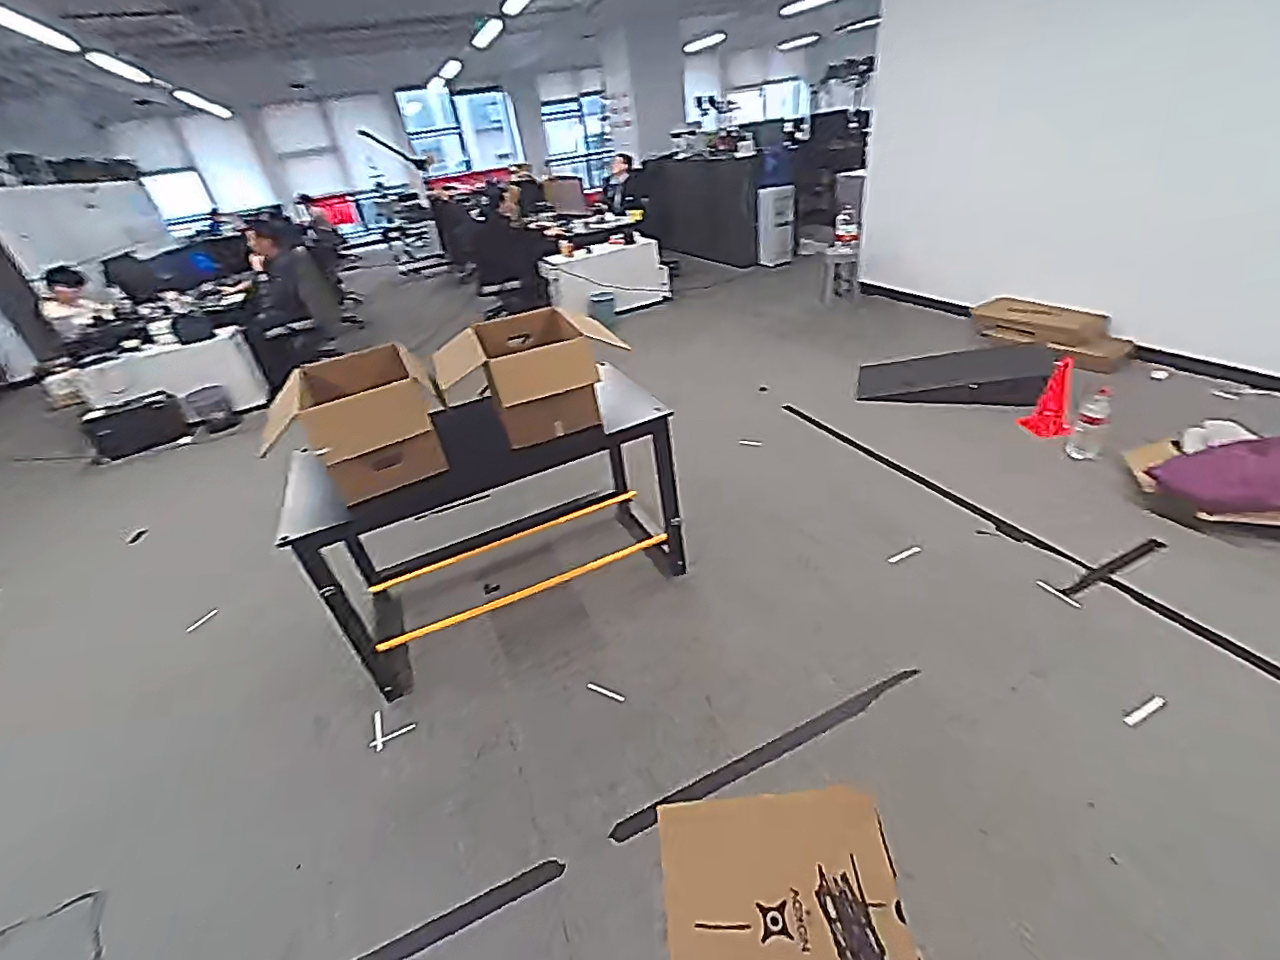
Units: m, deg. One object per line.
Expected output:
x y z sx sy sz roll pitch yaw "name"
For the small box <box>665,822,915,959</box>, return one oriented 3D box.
0.118 0.399 0.451 0.179 0.176 0.168 -7 49 2 "small box"
